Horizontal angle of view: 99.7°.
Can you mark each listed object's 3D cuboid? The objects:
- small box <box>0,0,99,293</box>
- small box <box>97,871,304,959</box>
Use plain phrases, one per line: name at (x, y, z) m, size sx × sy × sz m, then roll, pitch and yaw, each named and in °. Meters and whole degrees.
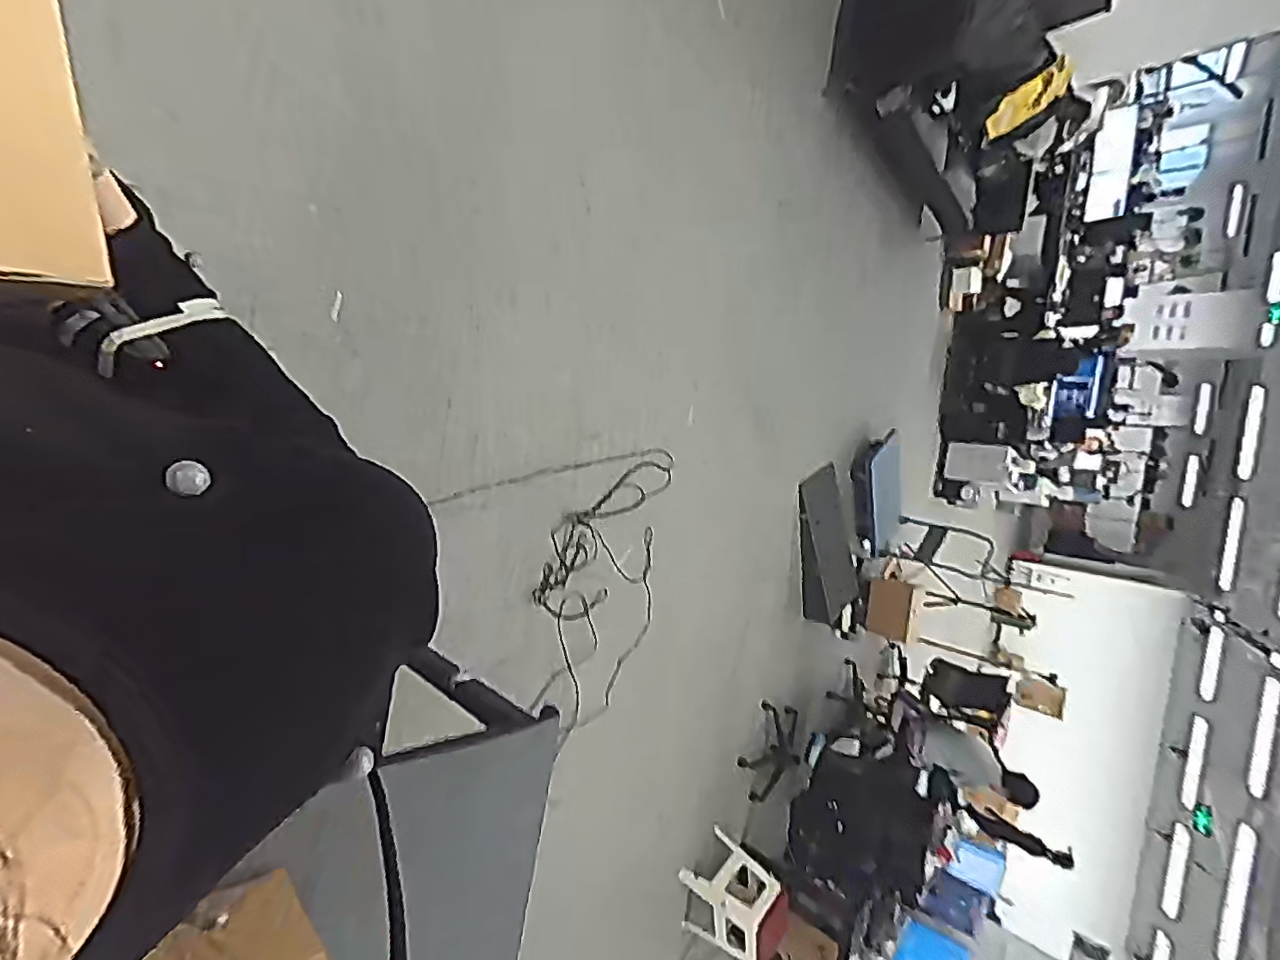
small box at (-0.439, -0.201, 0.278) m, size 0.168 × 0.176 × 0.179 m, roll -22°, pitch 114°, yaw -60°
small box at (-0.528, 0.624, 0.639) m, size 0.168 × 0.176 × 0.179 m, roll 9°, pitch 92°, yaw -50°
